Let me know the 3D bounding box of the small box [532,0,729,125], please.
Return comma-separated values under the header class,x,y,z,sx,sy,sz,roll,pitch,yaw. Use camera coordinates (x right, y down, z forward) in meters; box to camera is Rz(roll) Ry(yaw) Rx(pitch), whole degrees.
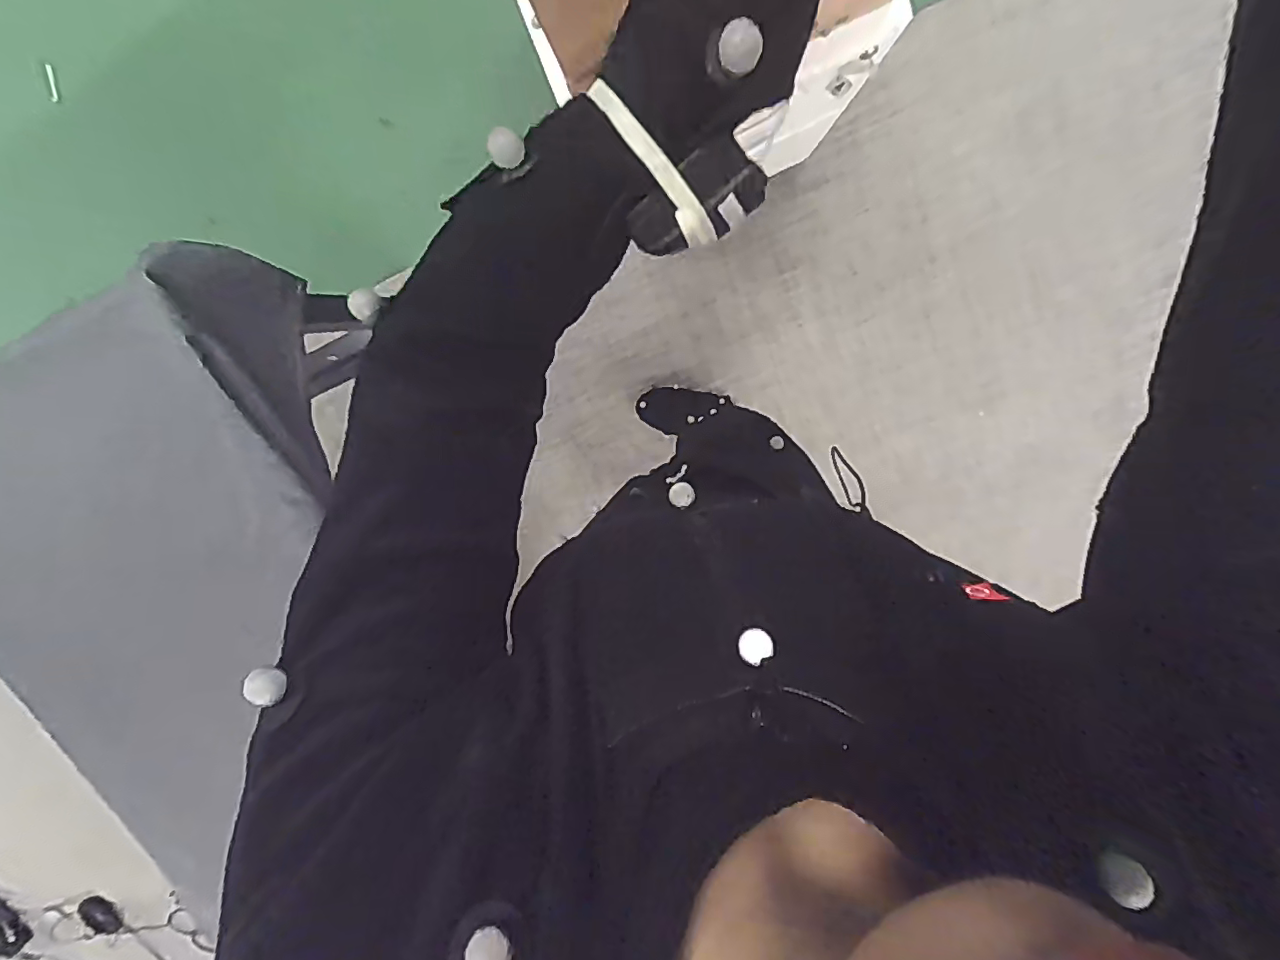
class,x,y,z,sx,sy,sz,roll,pitch,yaw
small box,-0.019,-0.487,0.534,0.168,0.176,0.179,-20,103,10
